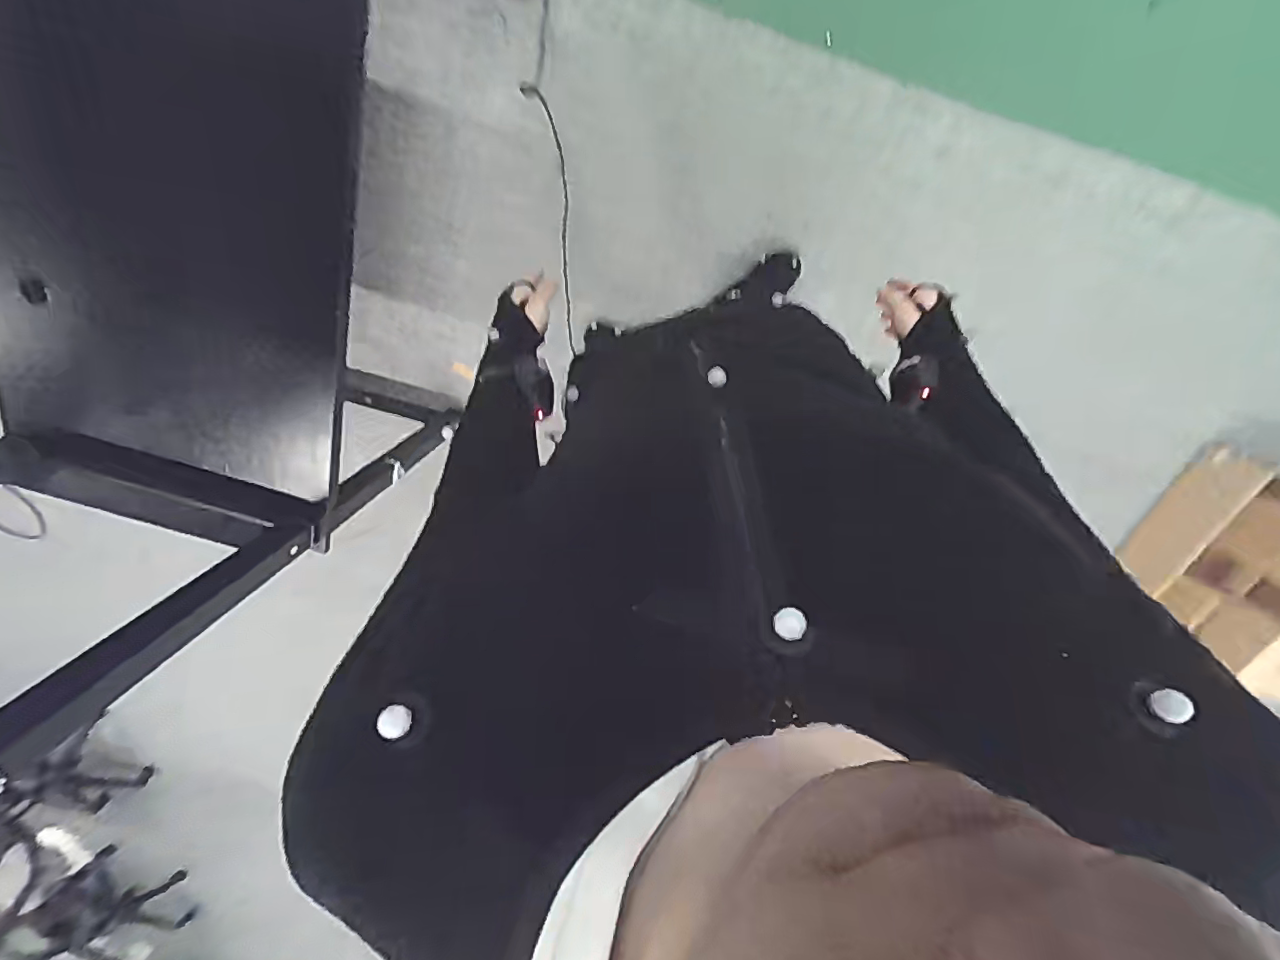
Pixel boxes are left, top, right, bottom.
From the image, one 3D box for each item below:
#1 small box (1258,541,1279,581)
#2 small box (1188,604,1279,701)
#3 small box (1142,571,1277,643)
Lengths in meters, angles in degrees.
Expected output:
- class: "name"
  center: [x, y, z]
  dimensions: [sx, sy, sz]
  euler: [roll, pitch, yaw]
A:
- class: "small box"
  center: [1.719, 0.219, 1.322]
  dimensions: [0.179, 0.176, 0.168]
  euler: [18, 113, -3]
- class: "small box"
  center: [1.640, 0.454, 1.432]
  dimensions: [0.179, 0.176, 0.168]
  euler: [21, 112, -4]
- class: "small box"
  center: [1.652, 0.390, 1.584]
  dimensions: [0.179, 0.176, 0.168]
  euler: [20, 112, -3]
